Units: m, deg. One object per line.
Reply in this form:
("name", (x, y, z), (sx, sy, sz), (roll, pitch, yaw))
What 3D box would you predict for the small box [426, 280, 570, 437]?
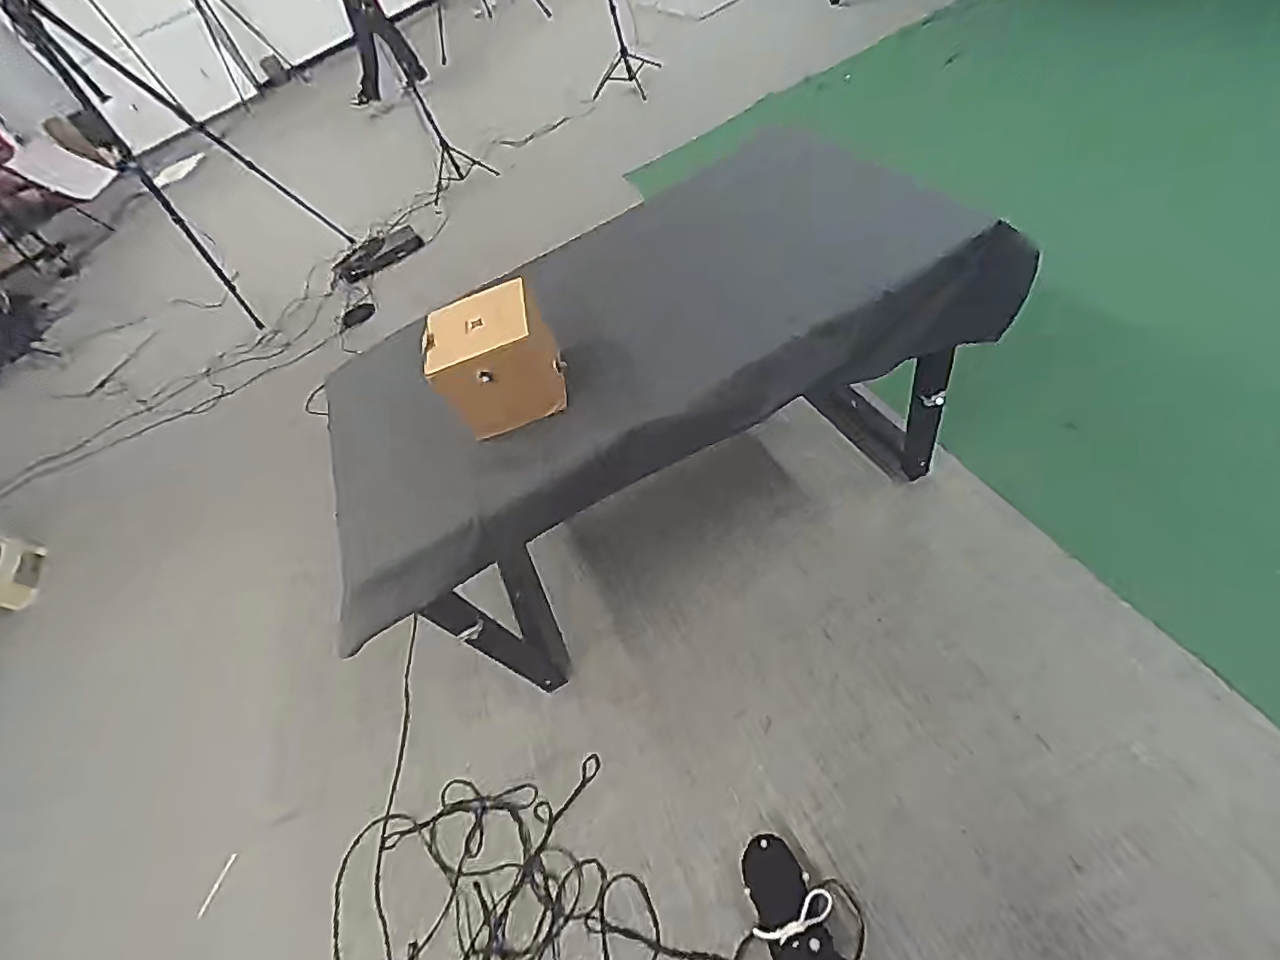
("small box", (-0.237, -0.200, 0.921), (0.179, 0.176, 0.168), (-19, 52, 5))
